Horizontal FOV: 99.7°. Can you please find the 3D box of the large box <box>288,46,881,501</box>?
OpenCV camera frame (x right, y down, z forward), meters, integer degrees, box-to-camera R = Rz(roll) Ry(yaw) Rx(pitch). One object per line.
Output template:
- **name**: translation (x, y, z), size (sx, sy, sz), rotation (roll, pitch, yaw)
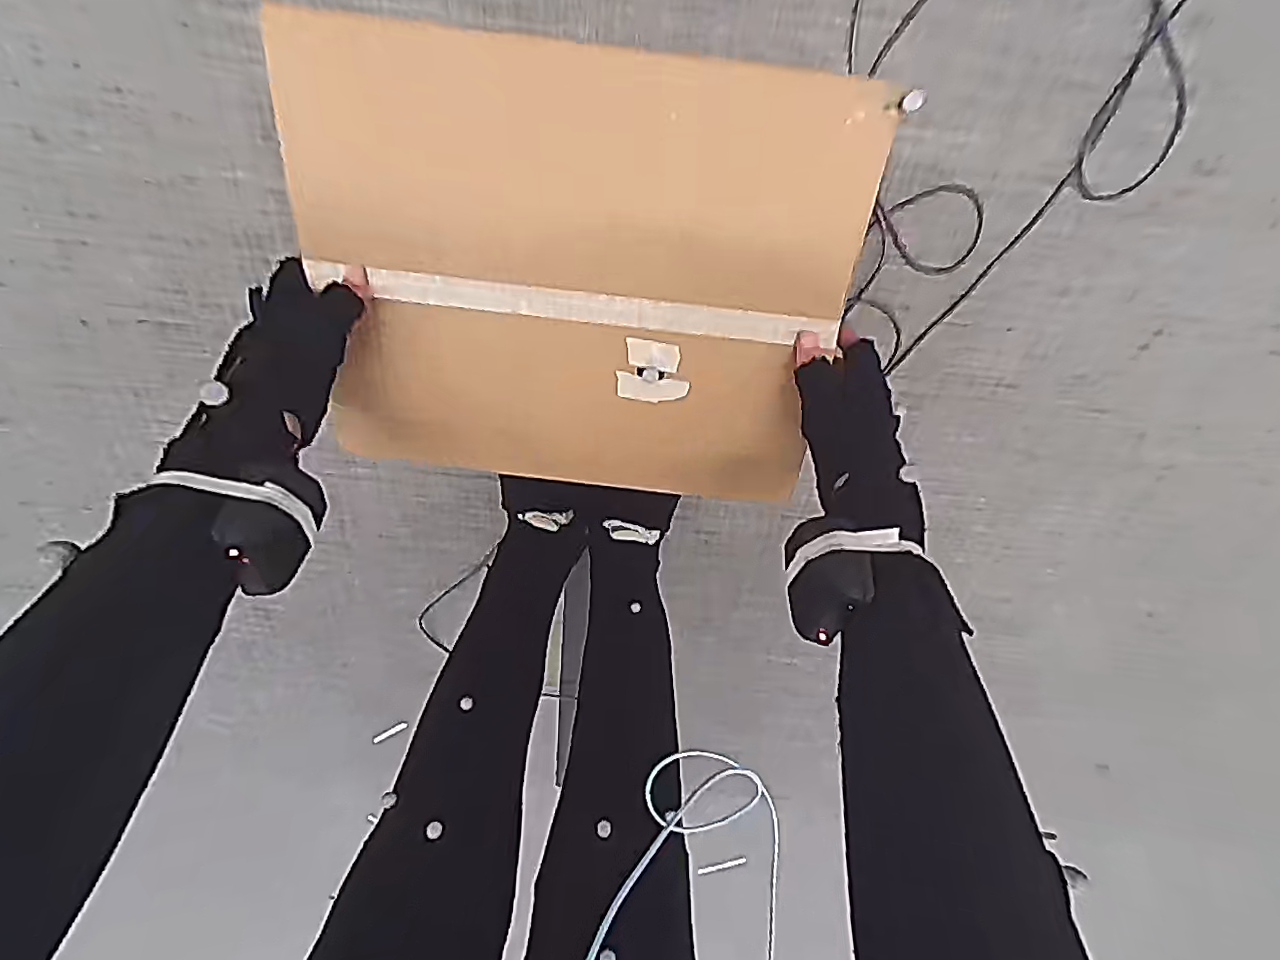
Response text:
- **large box**: translation (-0.046, -0.200, 0.556), size (0.408, 0.320, 0.320), rotation (6, 119, -1)
